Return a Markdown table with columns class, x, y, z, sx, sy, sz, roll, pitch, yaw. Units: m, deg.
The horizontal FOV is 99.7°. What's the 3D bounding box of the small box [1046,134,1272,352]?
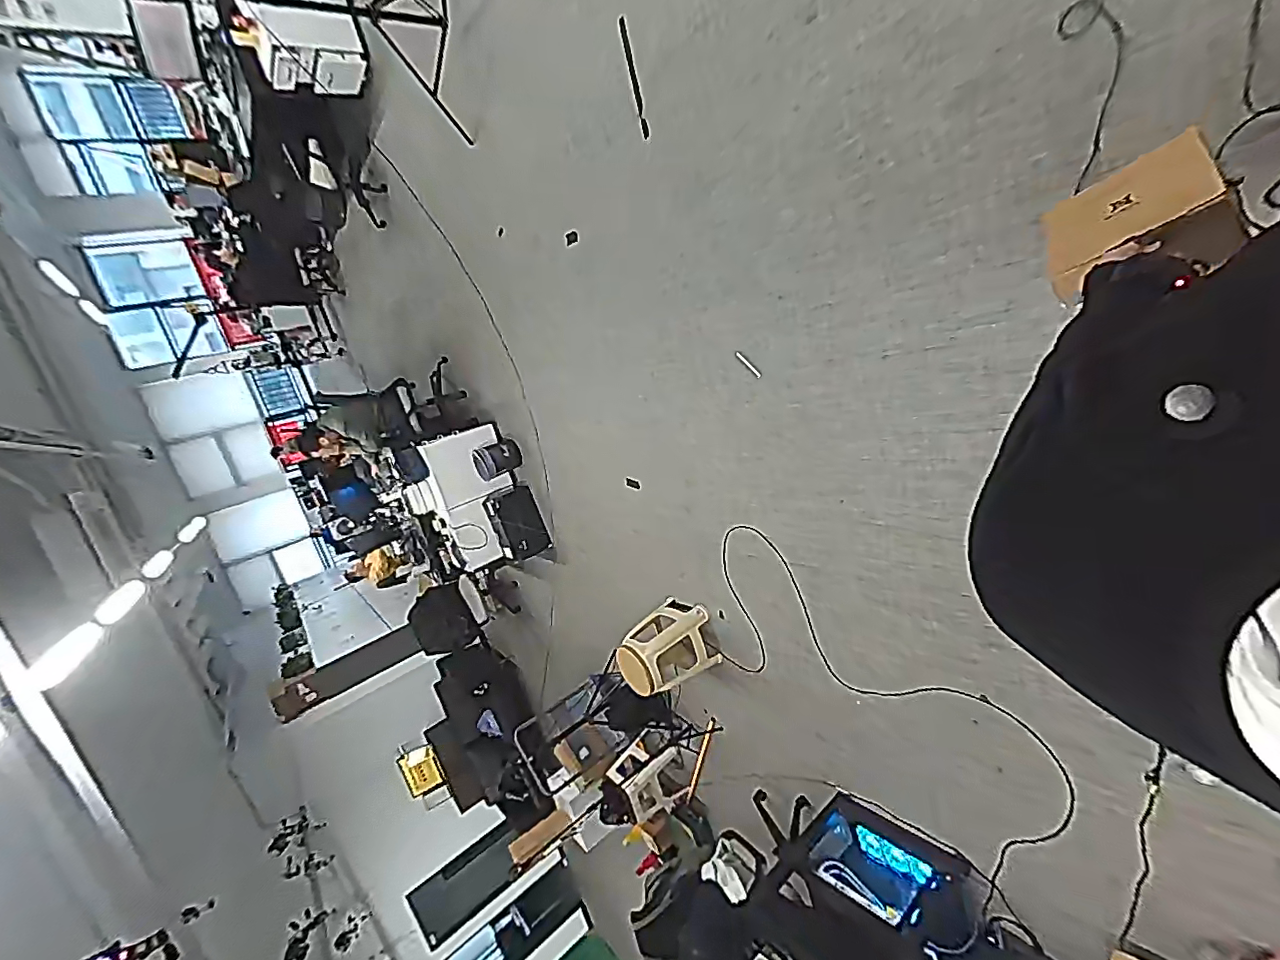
| class | x | y | z | sx | sy | sz | roll | pitch | yaw |
| --- | --- | --- | --- | --- | --- | --- | --- | --- | --- |
| small box | 0.667 | -0.293 | 0.708 | 0.176 | 0.179 | 0.168 | 40 | 145 | -19 |
